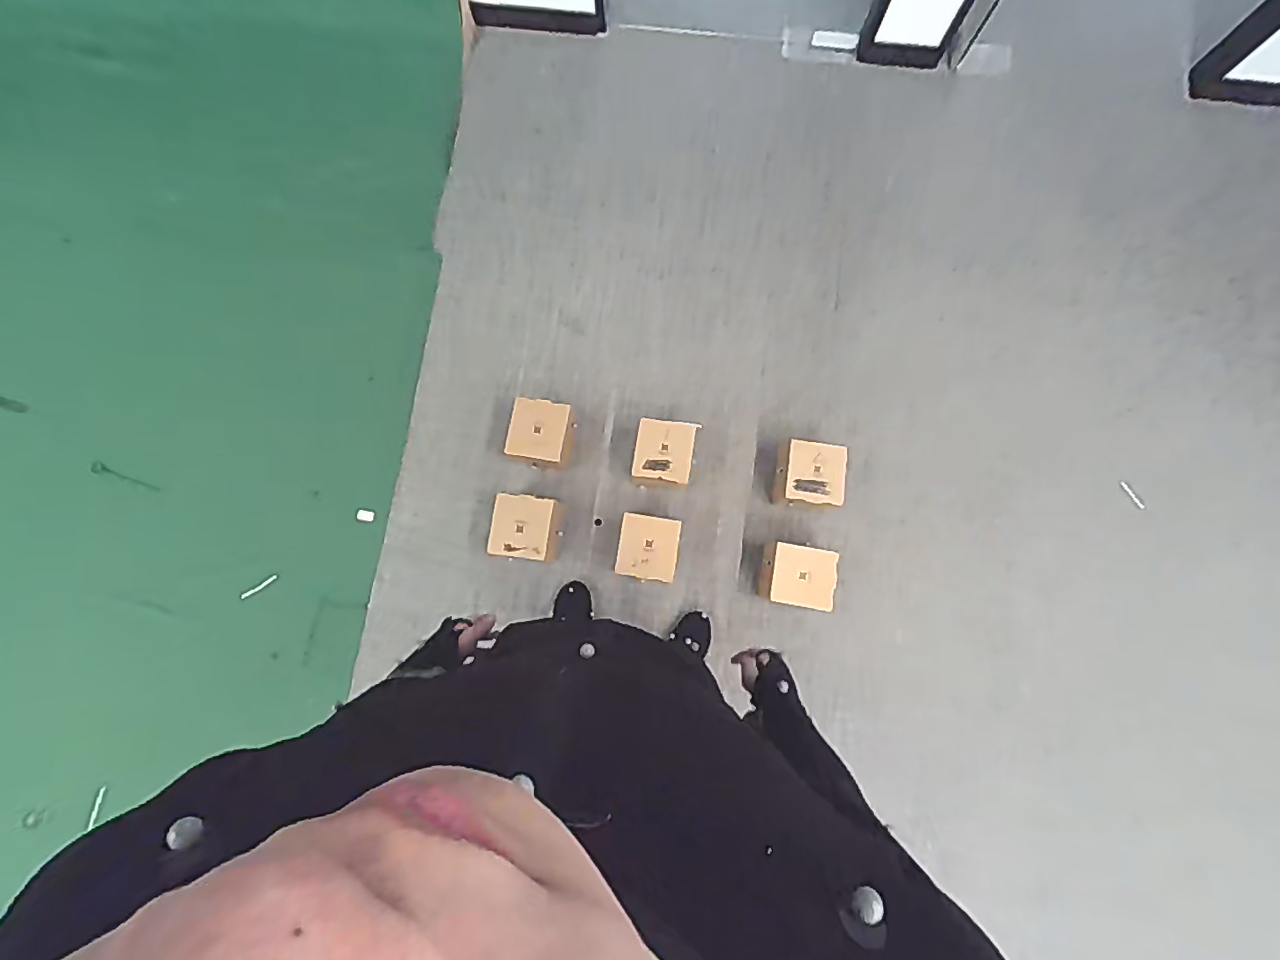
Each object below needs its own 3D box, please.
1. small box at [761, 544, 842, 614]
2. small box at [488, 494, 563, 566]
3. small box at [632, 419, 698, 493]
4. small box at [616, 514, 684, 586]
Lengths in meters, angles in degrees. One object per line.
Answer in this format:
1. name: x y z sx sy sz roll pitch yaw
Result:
1. small box: 0.456 0.284 1.551 0.179 0.176 0.168 10 80 1
2. small box: -0.325 0.149 1.577 0.168 0.176 0.179 8 79 2
3. small box: 0.075 -0.064 1.611 0.168 0.176 0.179 9 80 2
4. small box: 0.029 0.205 1.565 0.168 0.176 0.179 9 80 2
